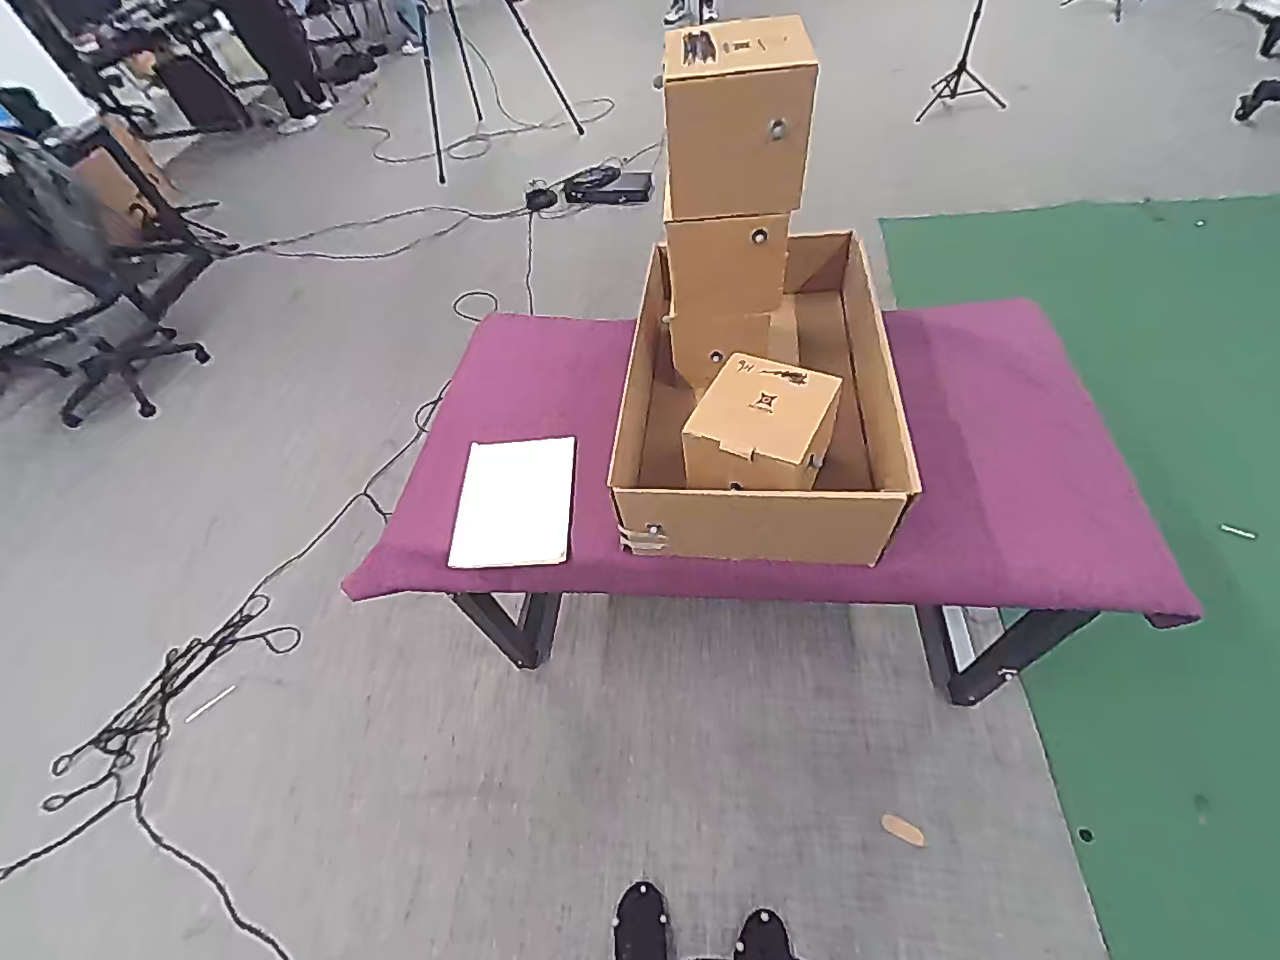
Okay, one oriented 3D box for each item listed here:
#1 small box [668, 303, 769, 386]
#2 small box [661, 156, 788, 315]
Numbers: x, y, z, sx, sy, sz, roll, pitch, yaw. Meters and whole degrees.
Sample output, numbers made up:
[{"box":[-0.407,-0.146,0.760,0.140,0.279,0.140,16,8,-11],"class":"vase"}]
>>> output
[{"box":[0.148,-0.286,0.985,0.168,0.176,0.179,1,55,10],"class":"small box"},{"box":[0.132,-0.377,0.852,0.179,0.176,0.168,-1,55,8],"class":"small box"}]
